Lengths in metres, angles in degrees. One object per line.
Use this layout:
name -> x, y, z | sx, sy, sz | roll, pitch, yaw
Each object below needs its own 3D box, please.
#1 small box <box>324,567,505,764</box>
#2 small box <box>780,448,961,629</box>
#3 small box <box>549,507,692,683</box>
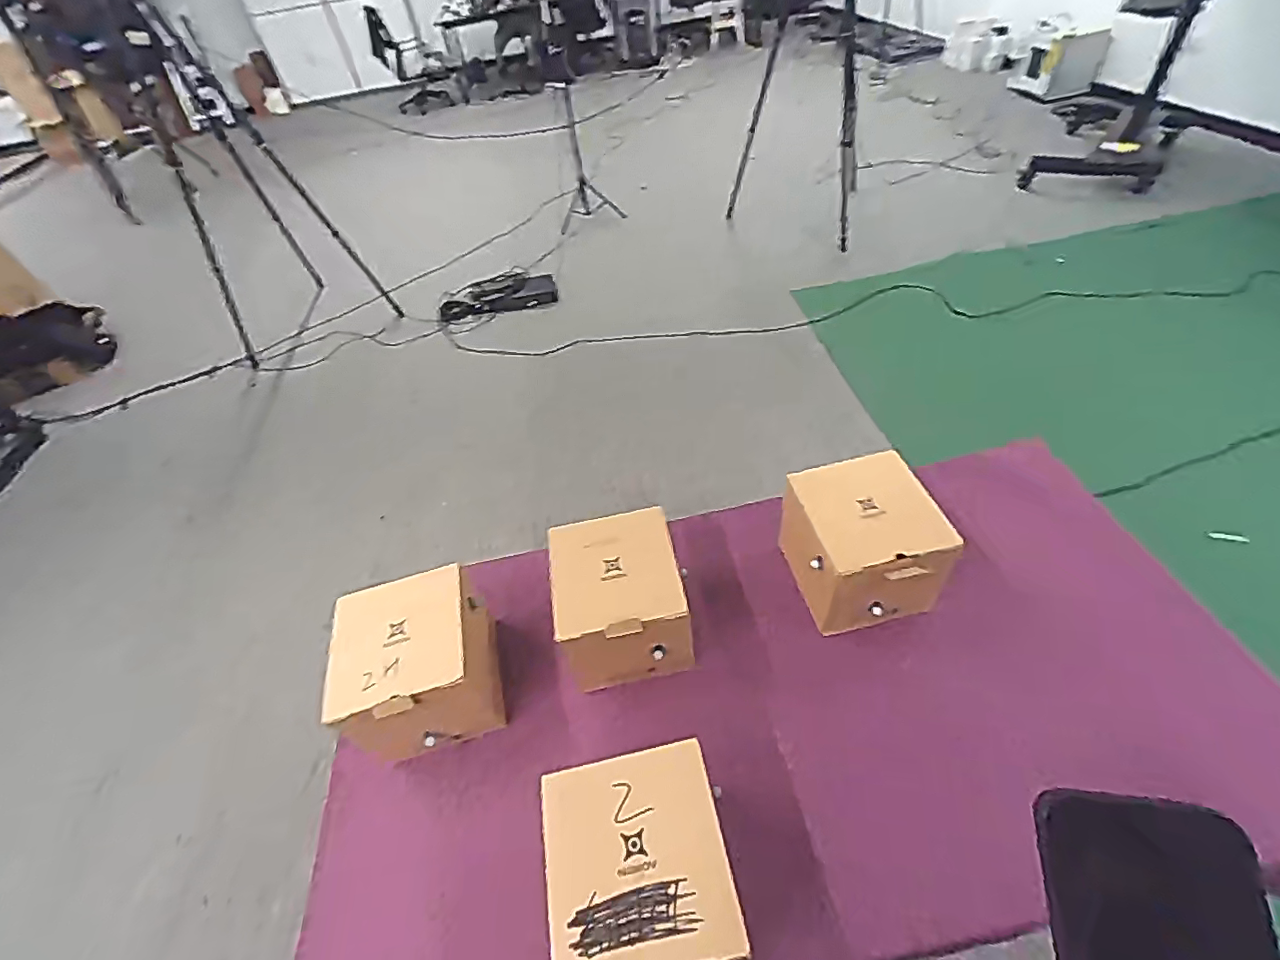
small box -> -0.294, 0.253, 0.737 | 0.168, 0.176, 0.179 | -17, 48, -5
small box -> 0.312, 0.085, 0.781 | 0.168, 0.176, 0.179 | -14, 48, -2
small box -> -0.026, 0.170, 0.766 | 0.168, 0.176, 0.179 | -12, 47, -2
